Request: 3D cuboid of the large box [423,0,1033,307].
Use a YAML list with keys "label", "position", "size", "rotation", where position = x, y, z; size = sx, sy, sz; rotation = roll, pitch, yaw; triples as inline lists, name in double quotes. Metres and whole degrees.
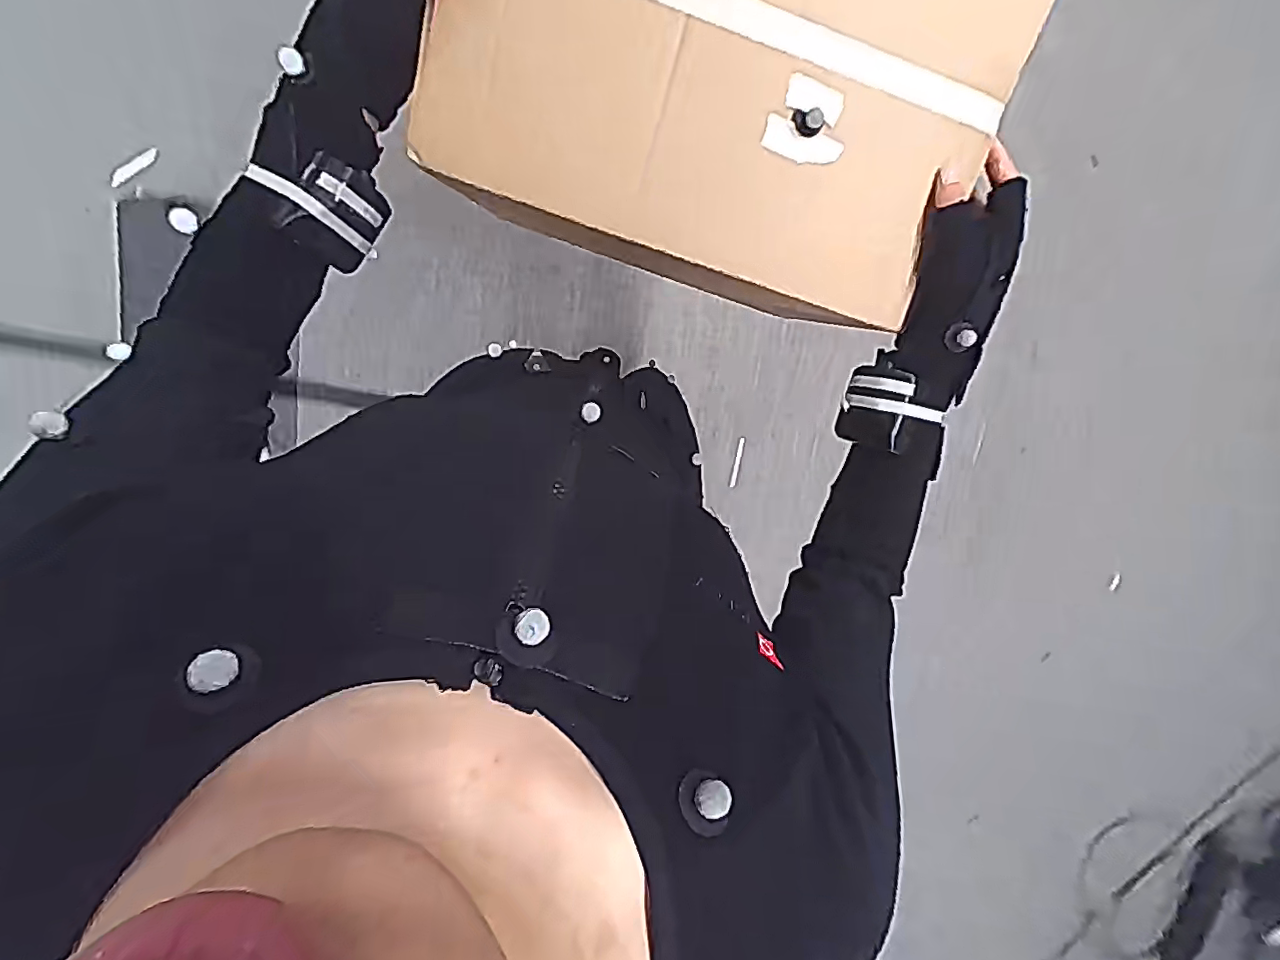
- label: "large box"
  position: [0.059, -0.374, 0.515]
  size: [0.408, 0.320, 0.320]
  rotation: [14, 108, -9]
